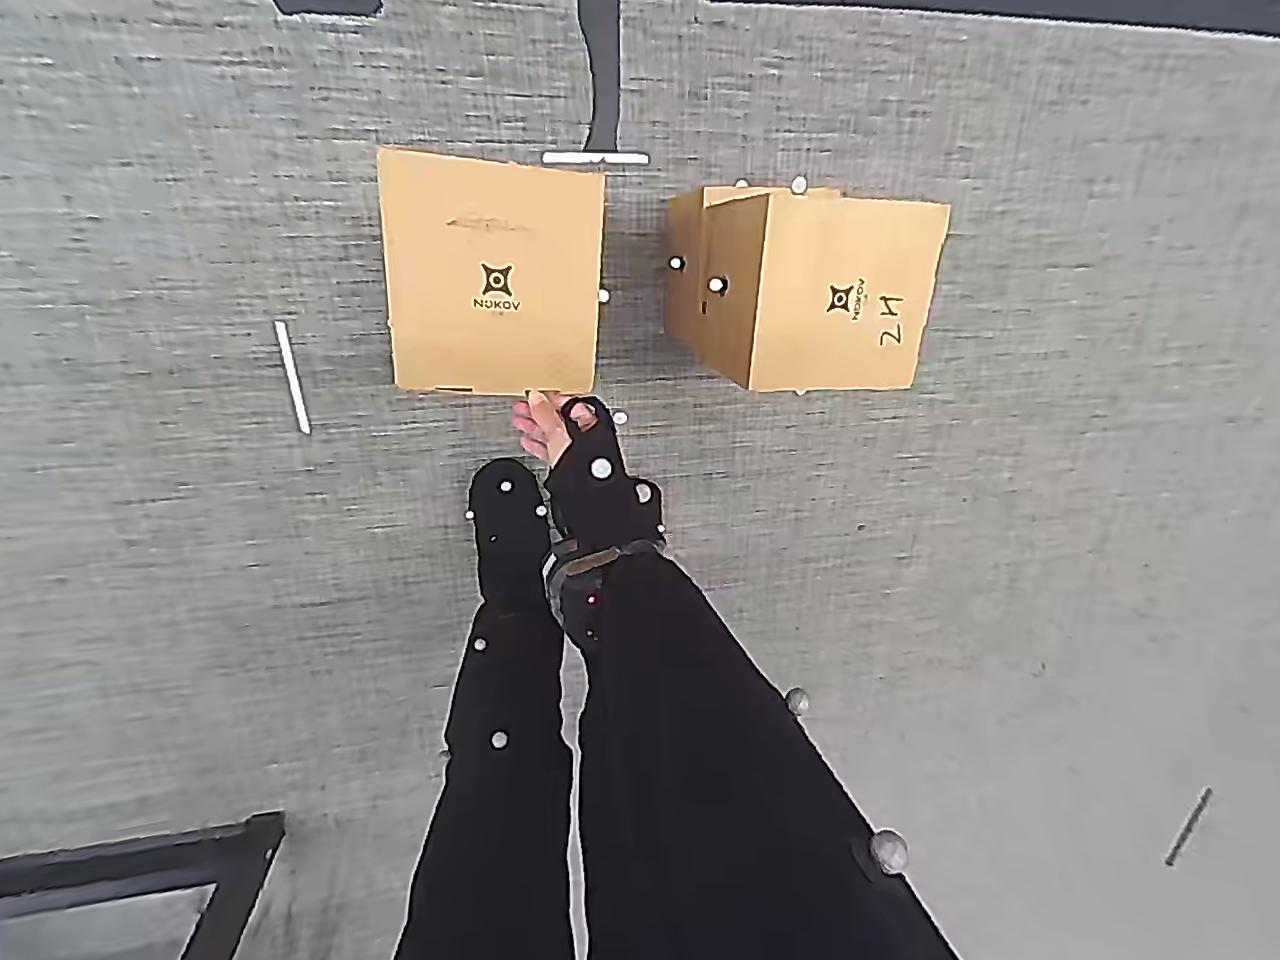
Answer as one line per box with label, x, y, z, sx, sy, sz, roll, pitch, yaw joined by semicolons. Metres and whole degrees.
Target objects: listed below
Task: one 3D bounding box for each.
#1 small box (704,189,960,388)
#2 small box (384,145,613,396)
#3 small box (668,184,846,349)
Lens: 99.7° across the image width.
small box;0.174;-0.193;0.554;0.179;0.176;0.168;-3;114;-12
small box;-0.124;-0.183;0.497;0.168;0.176;0.179;-1;112;-14
small box;0.137;-0.272;0.694;0.168;0.176;0.179;-5;113;-11
